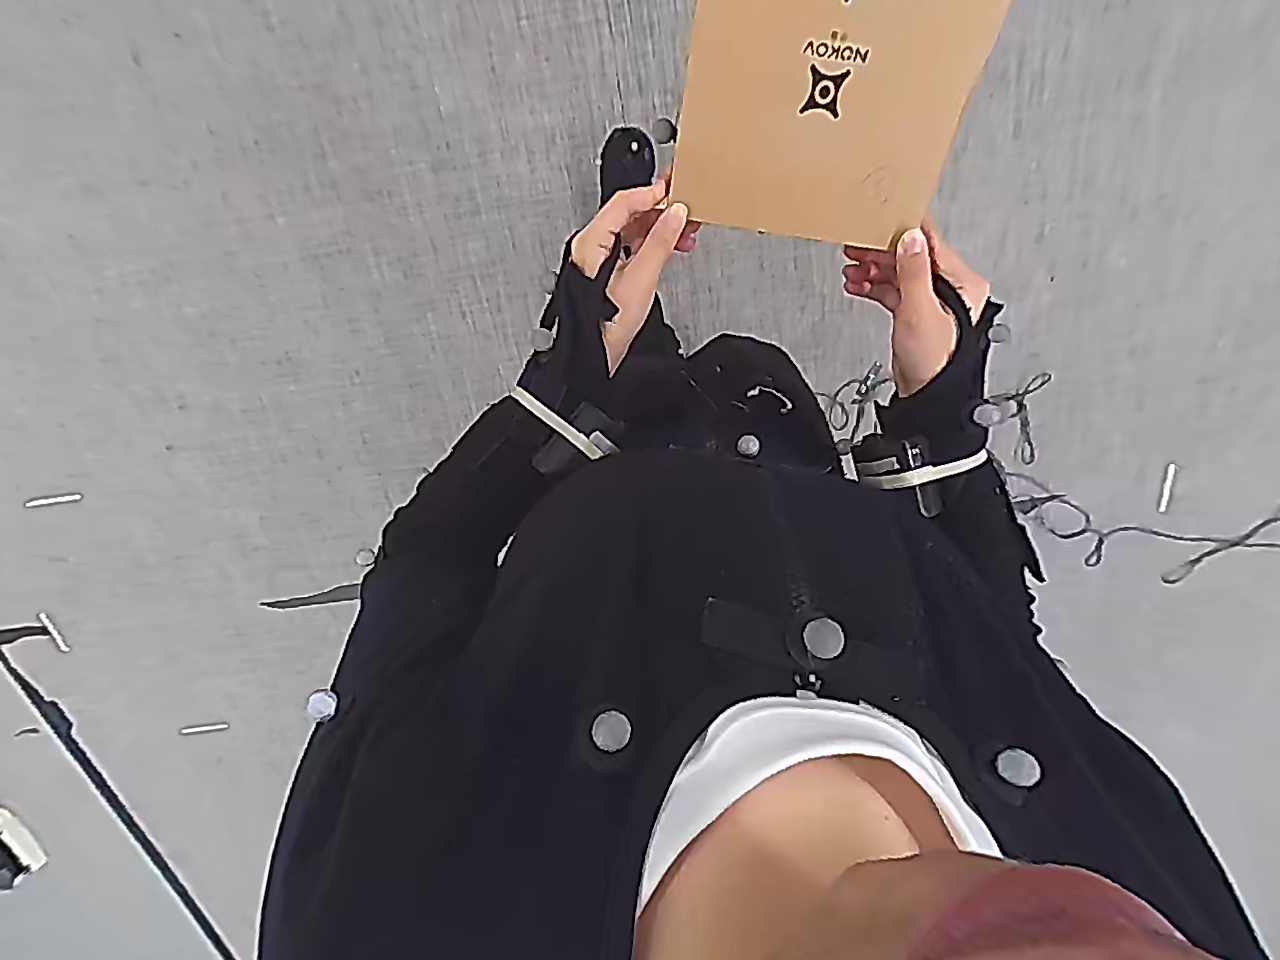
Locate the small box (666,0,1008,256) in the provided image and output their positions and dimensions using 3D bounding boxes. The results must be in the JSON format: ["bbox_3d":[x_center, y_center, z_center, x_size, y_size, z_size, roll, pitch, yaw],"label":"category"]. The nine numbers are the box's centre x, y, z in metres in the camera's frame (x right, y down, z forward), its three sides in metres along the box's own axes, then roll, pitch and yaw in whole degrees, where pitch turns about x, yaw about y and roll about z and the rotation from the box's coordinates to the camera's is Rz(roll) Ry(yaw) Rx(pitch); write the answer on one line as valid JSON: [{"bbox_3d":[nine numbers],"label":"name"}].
[{"bbox_3d":[0.116,-0.280,0.379,0.168,0.176,0.179,9,126,-1],"label":"small box"}]
